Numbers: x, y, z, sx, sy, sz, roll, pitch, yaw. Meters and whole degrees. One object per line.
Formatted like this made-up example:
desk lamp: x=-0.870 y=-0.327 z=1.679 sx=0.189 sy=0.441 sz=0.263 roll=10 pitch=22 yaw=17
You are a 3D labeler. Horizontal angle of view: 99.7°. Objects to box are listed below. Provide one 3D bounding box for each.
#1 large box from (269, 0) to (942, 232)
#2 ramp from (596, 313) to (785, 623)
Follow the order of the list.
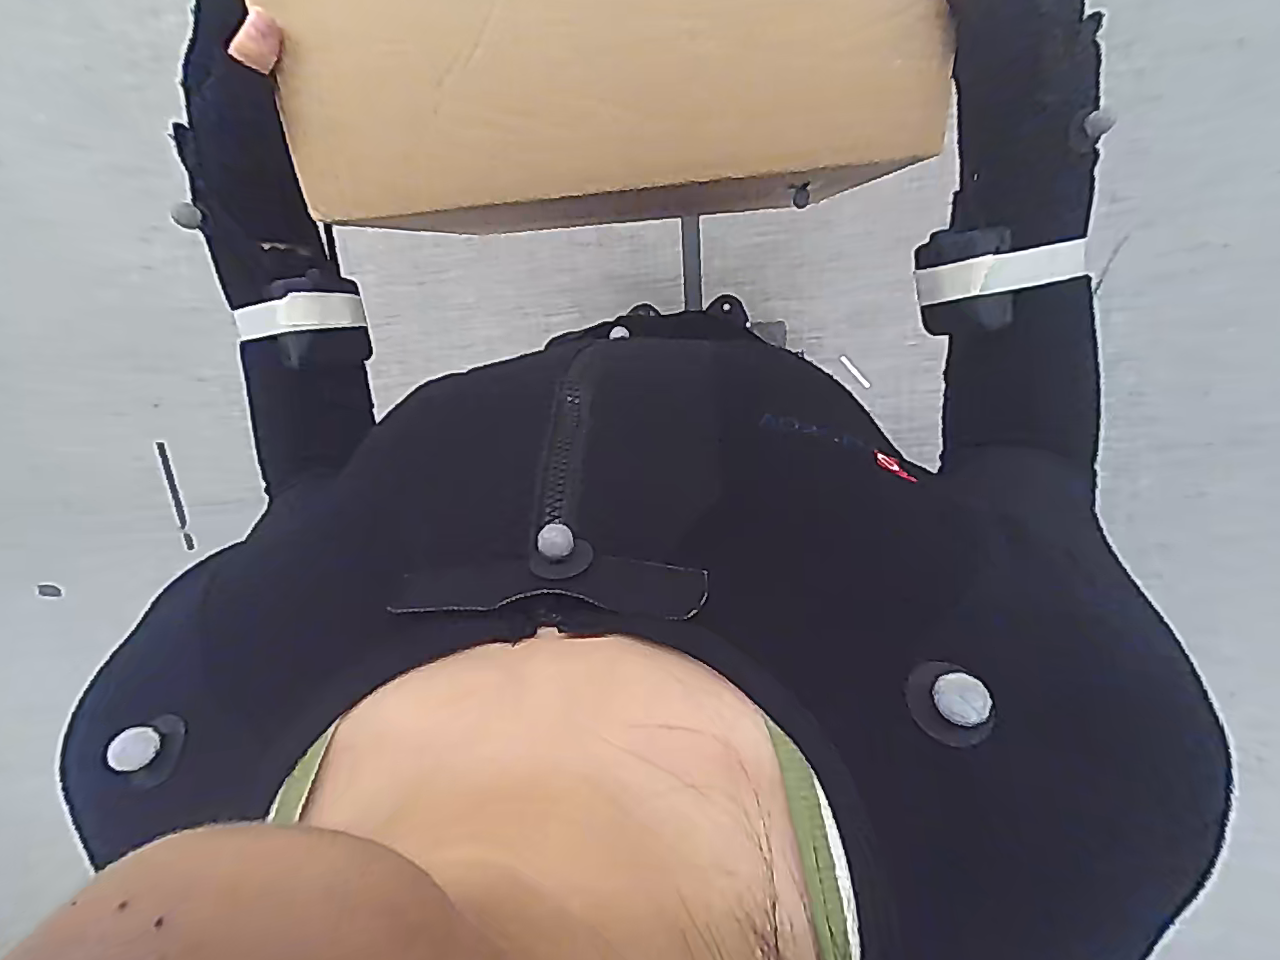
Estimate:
large box: x=-0.019 y=-0.390 z=0.436 sx=0.408 sy=0.320 sz=0.320 roll=-3 pitch=112 yaw=6
ramp: x=0.178 y=0.034 z=1.605 sx=0.509 sy=0.206 sz=0.991 roll=-5 pitch=107 yaw=7
